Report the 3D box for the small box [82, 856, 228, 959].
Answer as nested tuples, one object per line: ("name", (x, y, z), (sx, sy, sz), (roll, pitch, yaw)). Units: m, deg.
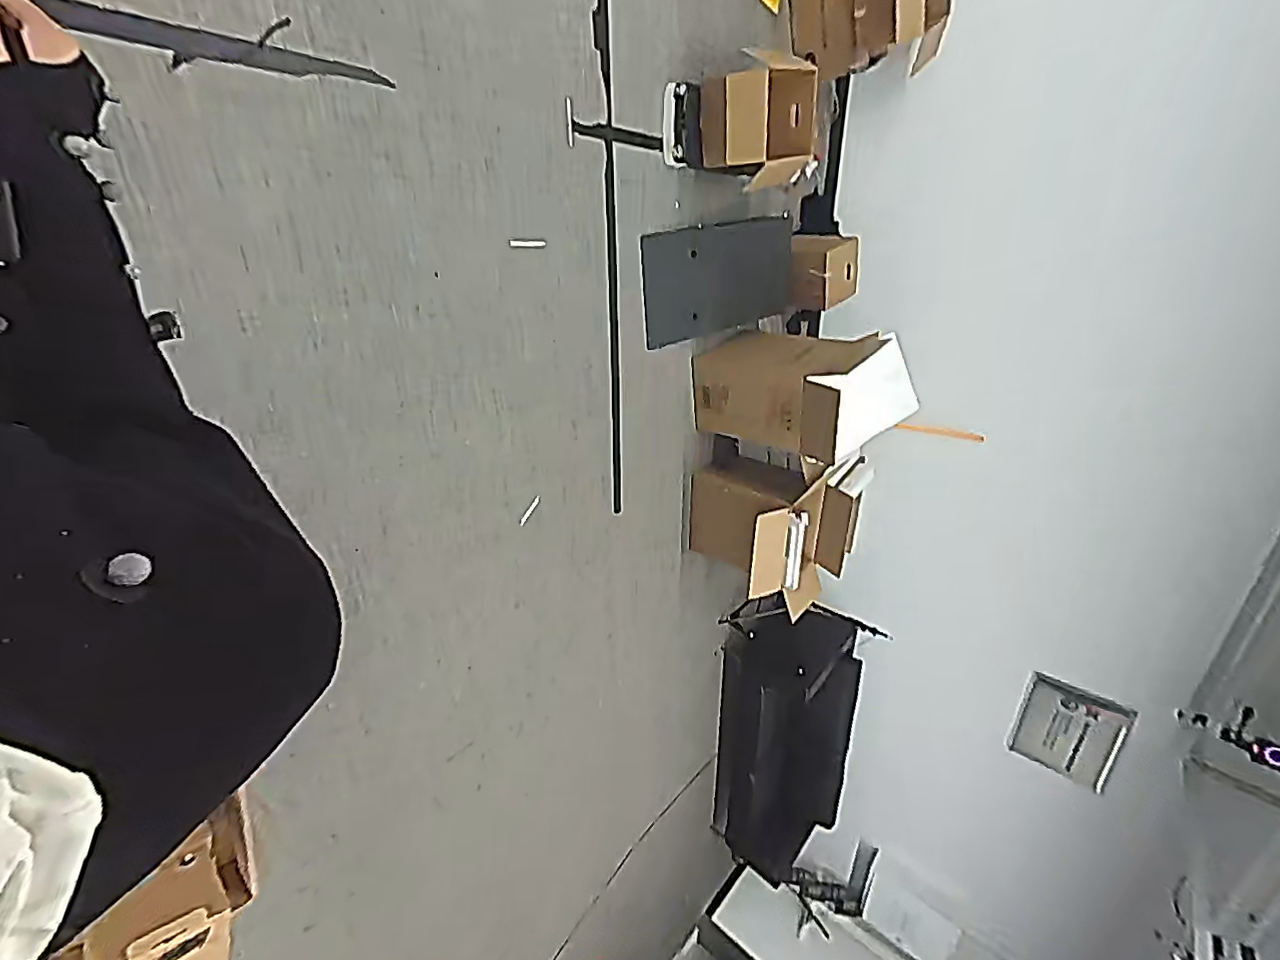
("small box", (-0.843, 0.804, 0.939), (0.168, 0.176, 0.179), (-3, 109, -51))
